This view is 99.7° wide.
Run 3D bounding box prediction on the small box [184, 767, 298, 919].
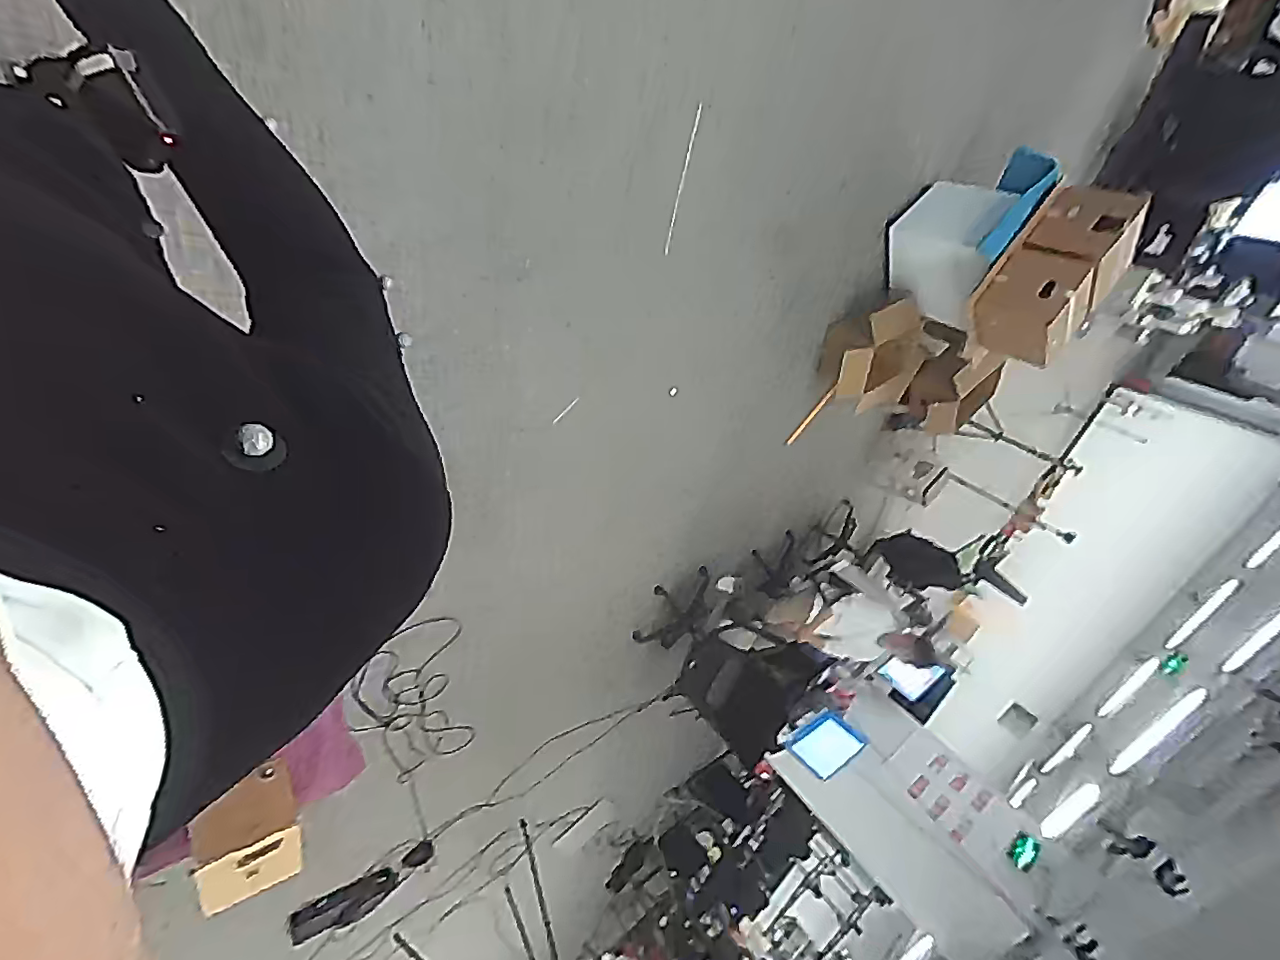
[{"bbox_3d":[-0.812,0.723,1.103,0.168,0.176,0.179,-8,125,-40],"label":"small box"}]
